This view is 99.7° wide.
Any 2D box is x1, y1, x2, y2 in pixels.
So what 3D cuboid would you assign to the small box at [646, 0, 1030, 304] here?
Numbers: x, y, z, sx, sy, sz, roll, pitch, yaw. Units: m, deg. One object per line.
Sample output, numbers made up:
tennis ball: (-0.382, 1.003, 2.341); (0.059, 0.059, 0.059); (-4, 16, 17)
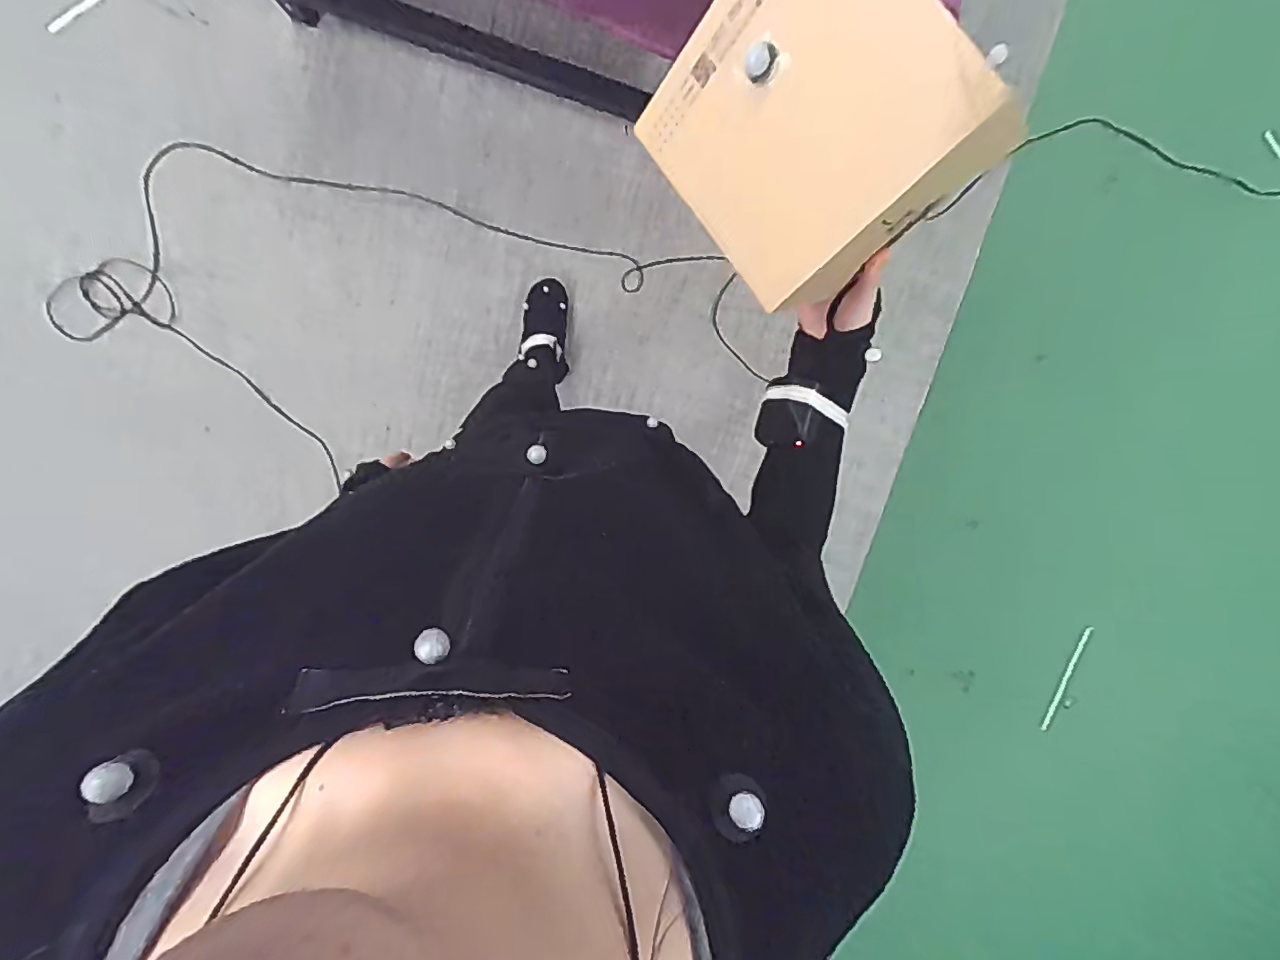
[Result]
small box: (0.140, -0.254, 0.388); (0.168, 0.179, 0.176); (-38, 84, 43)
